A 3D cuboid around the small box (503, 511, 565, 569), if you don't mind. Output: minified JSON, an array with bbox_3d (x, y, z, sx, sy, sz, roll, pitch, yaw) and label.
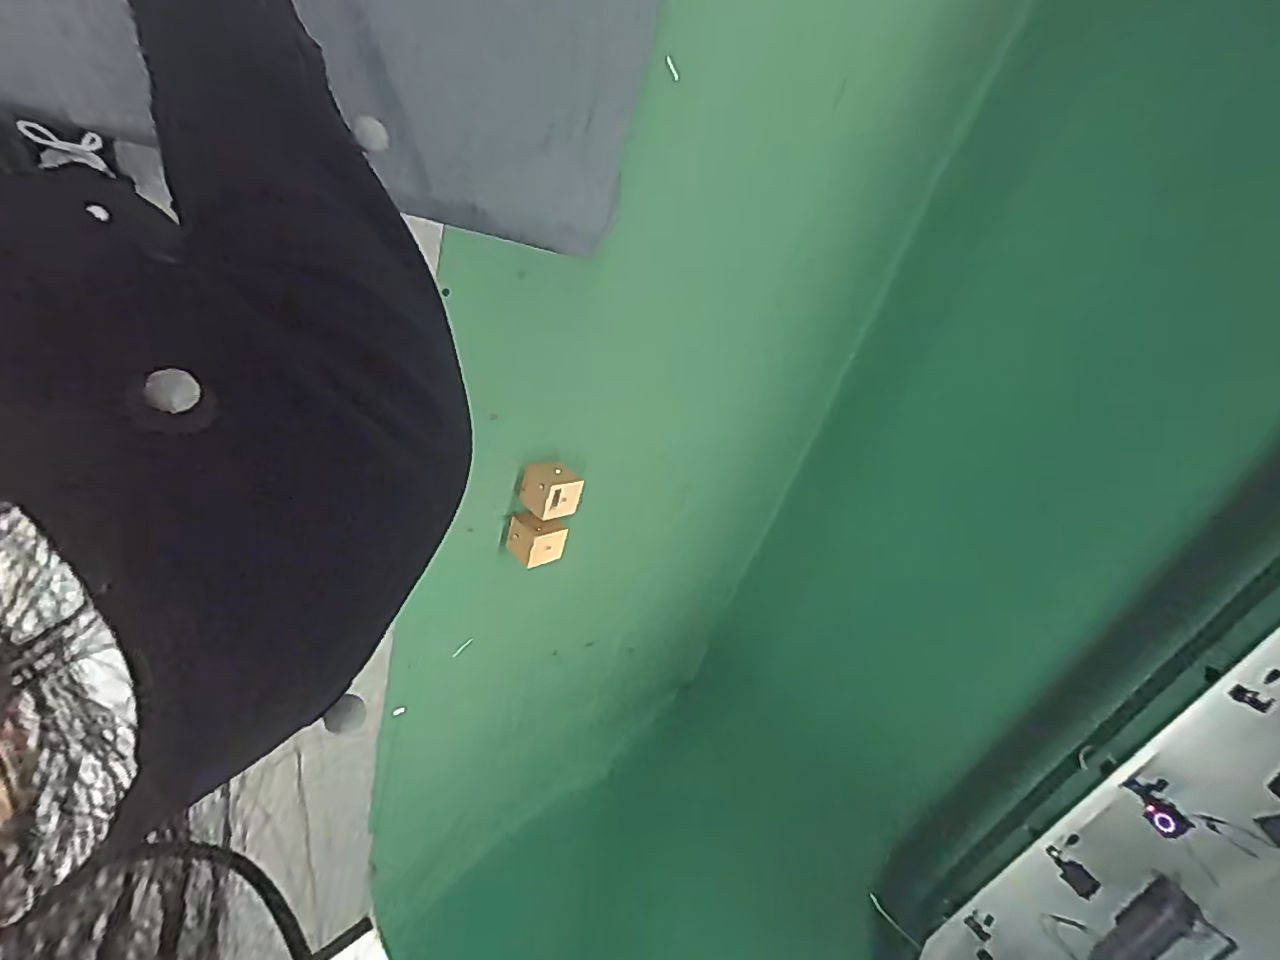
[{"bbox_3d":[-0.456,0.249,2.314,0.179,0.176,0.168,-13,130,-46],"label":"small box"}]
